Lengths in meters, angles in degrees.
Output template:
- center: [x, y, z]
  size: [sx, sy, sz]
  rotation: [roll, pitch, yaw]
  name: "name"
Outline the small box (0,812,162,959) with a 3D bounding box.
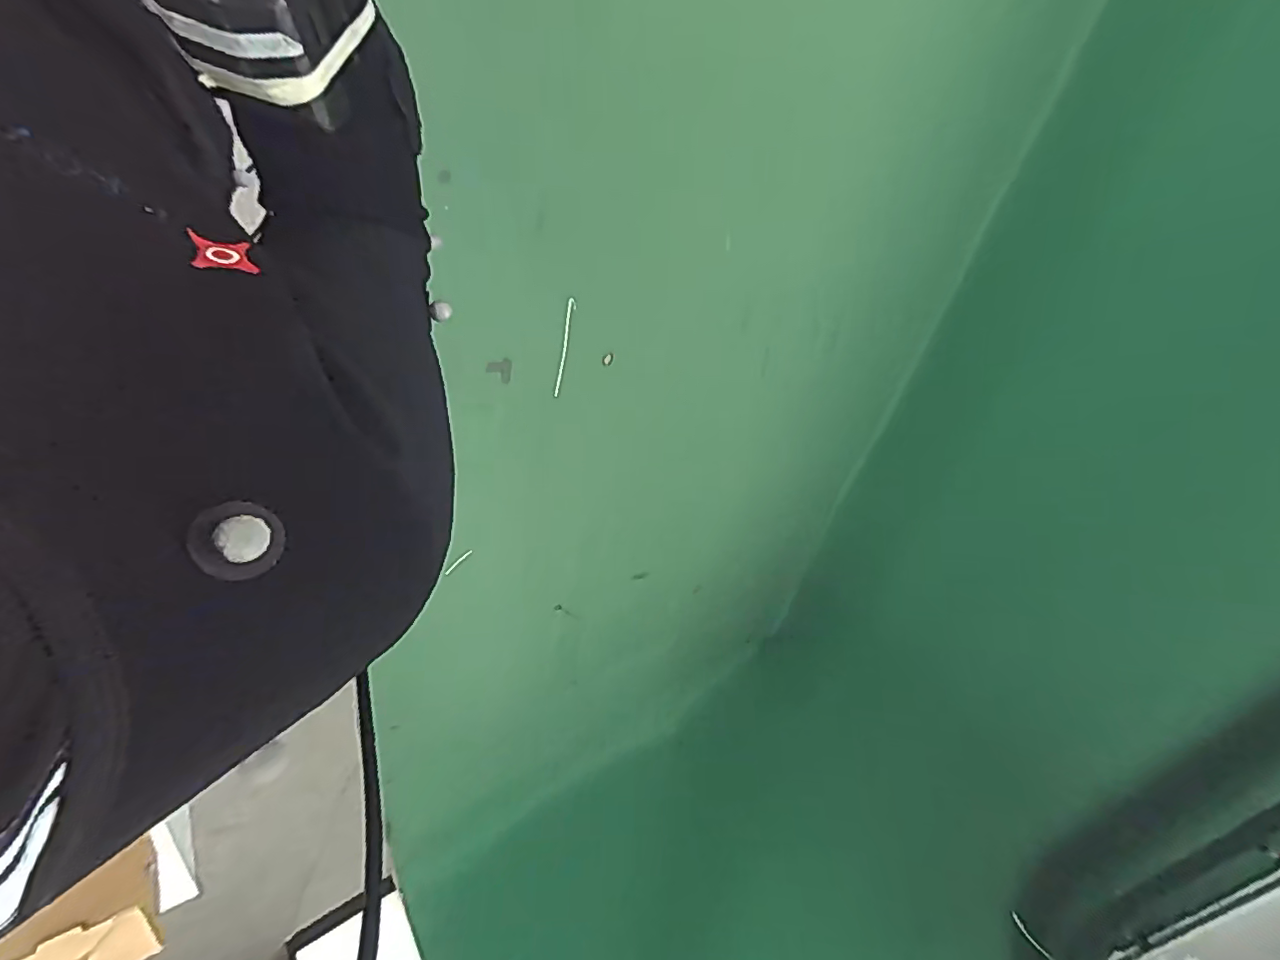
- center: [-0.874, 0.661, 0.844]
  size: [0.168, 0.176, 0.179]
  rotation: [-10, 132, -37]
  name: "small box"
